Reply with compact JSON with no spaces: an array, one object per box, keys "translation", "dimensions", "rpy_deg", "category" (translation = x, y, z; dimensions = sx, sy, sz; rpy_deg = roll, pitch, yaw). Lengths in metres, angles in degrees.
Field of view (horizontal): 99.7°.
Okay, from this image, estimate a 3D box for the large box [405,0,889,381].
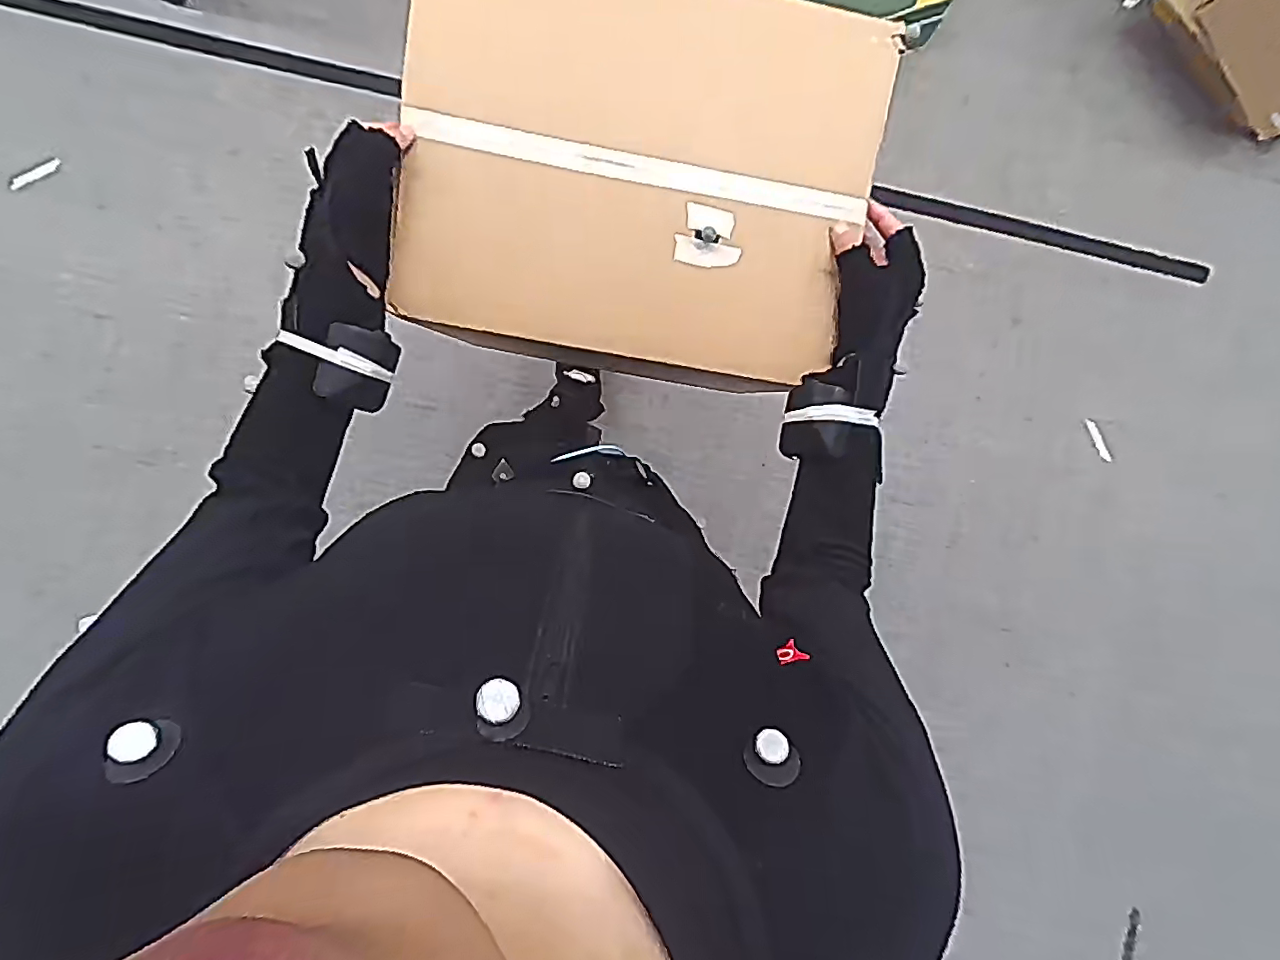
[{"translation":[-0.007,-0.301,0.629],"dimensions":[0.408,0.320,0.320],"rpy_deg":[9,99,-5],"category":"large box"}]
